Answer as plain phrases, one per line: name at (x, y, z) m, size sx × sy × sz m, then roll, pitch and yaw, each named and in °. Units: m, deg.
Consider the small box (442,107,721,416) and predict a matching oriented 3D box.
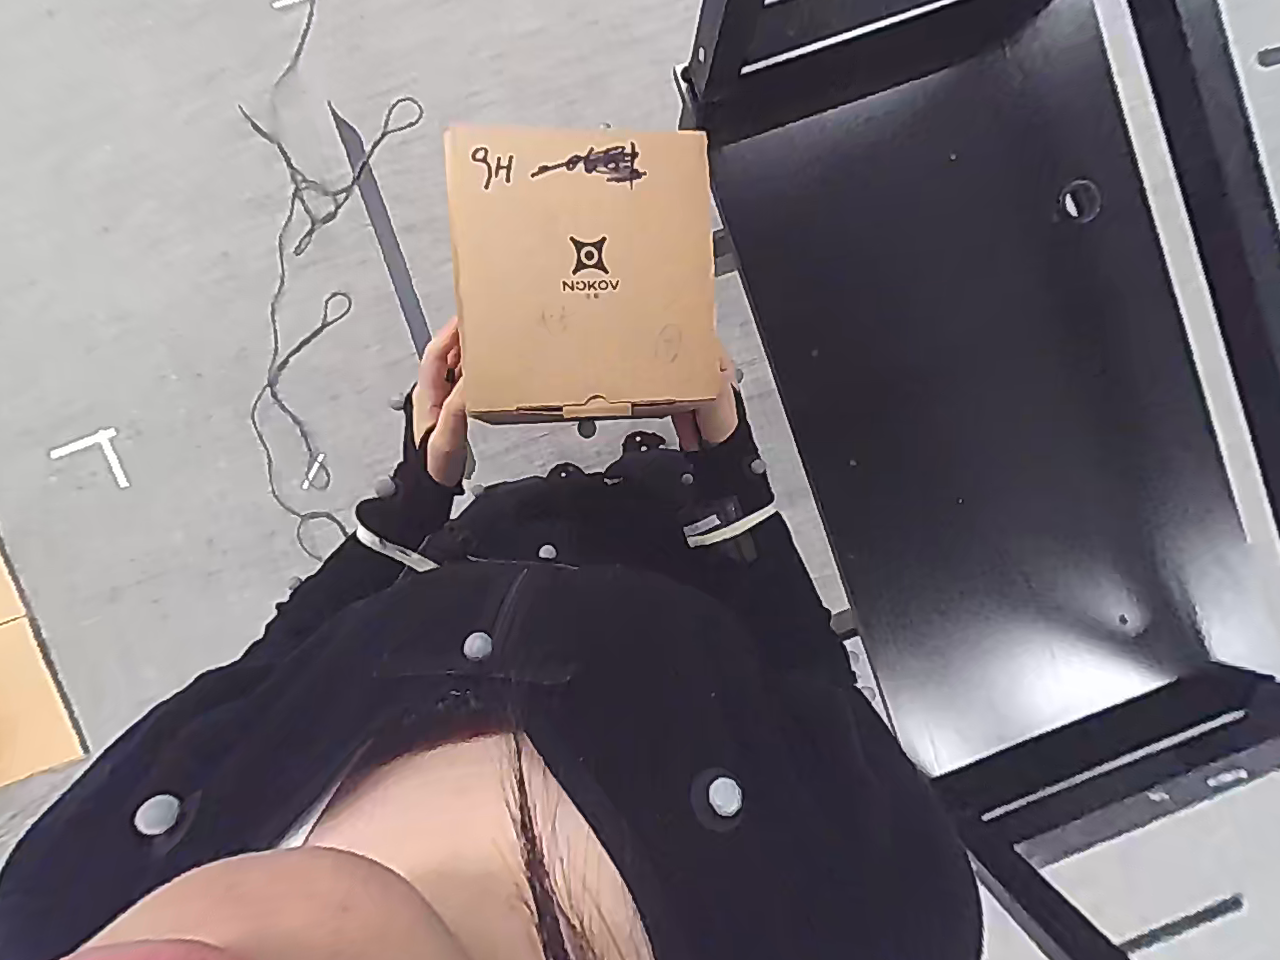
small box at (-0.044, -0.138, 0.407) m, size 0.168 × 0.176 × 0.179 m, roll -4°, pitch 95°, yaw -11°
